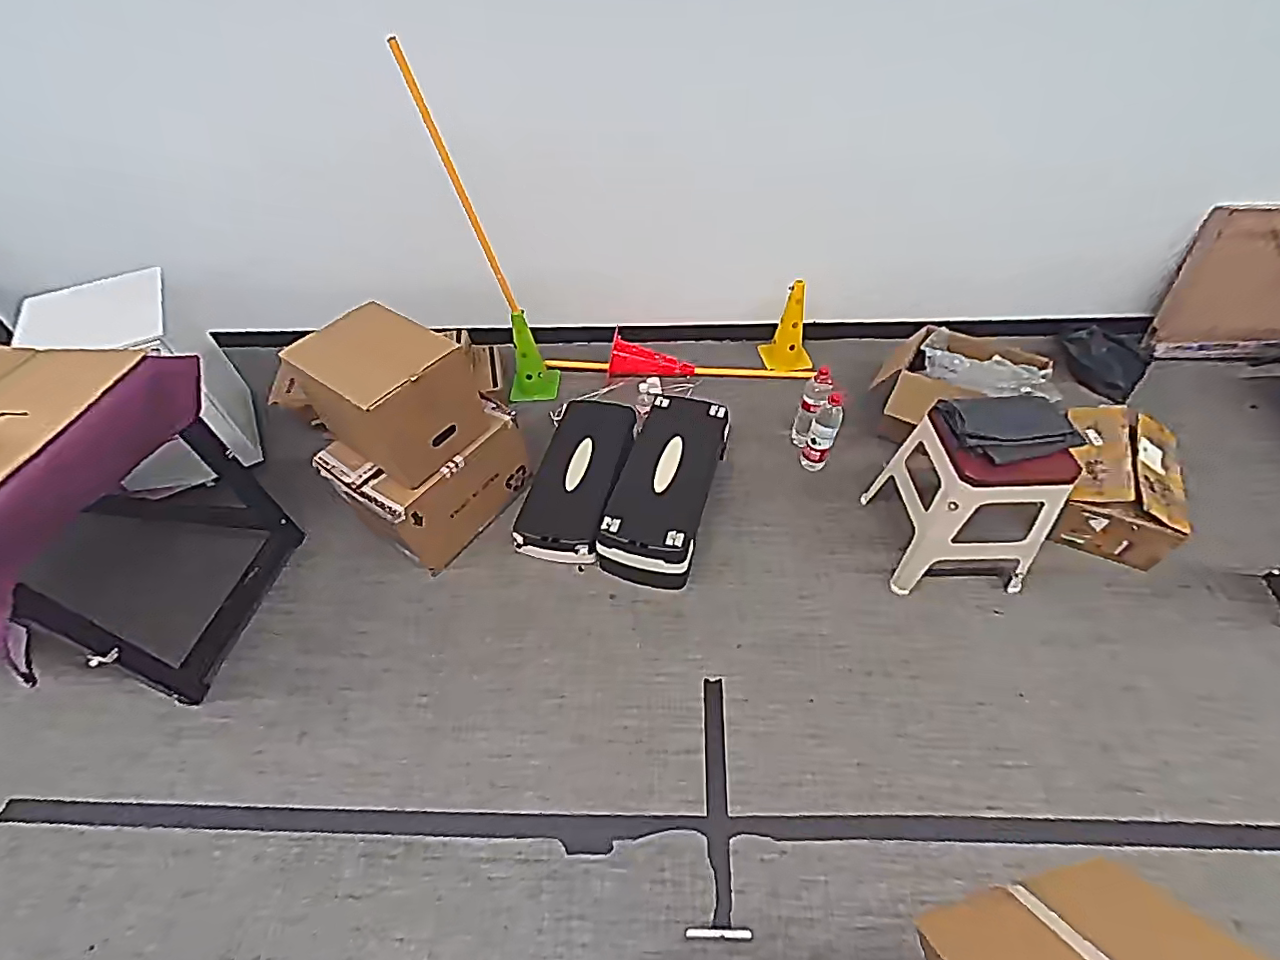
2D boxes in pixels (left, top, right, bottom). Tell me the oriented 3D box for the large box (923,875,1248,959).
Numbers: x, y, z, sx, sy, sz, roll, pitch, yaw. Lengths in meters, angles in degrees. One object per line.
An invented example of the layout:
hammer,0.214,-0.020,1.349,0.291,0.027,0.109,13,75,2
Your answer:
large box,0.595,0.731,0.577,0.320,0.408,0.320,-15,81,-3
